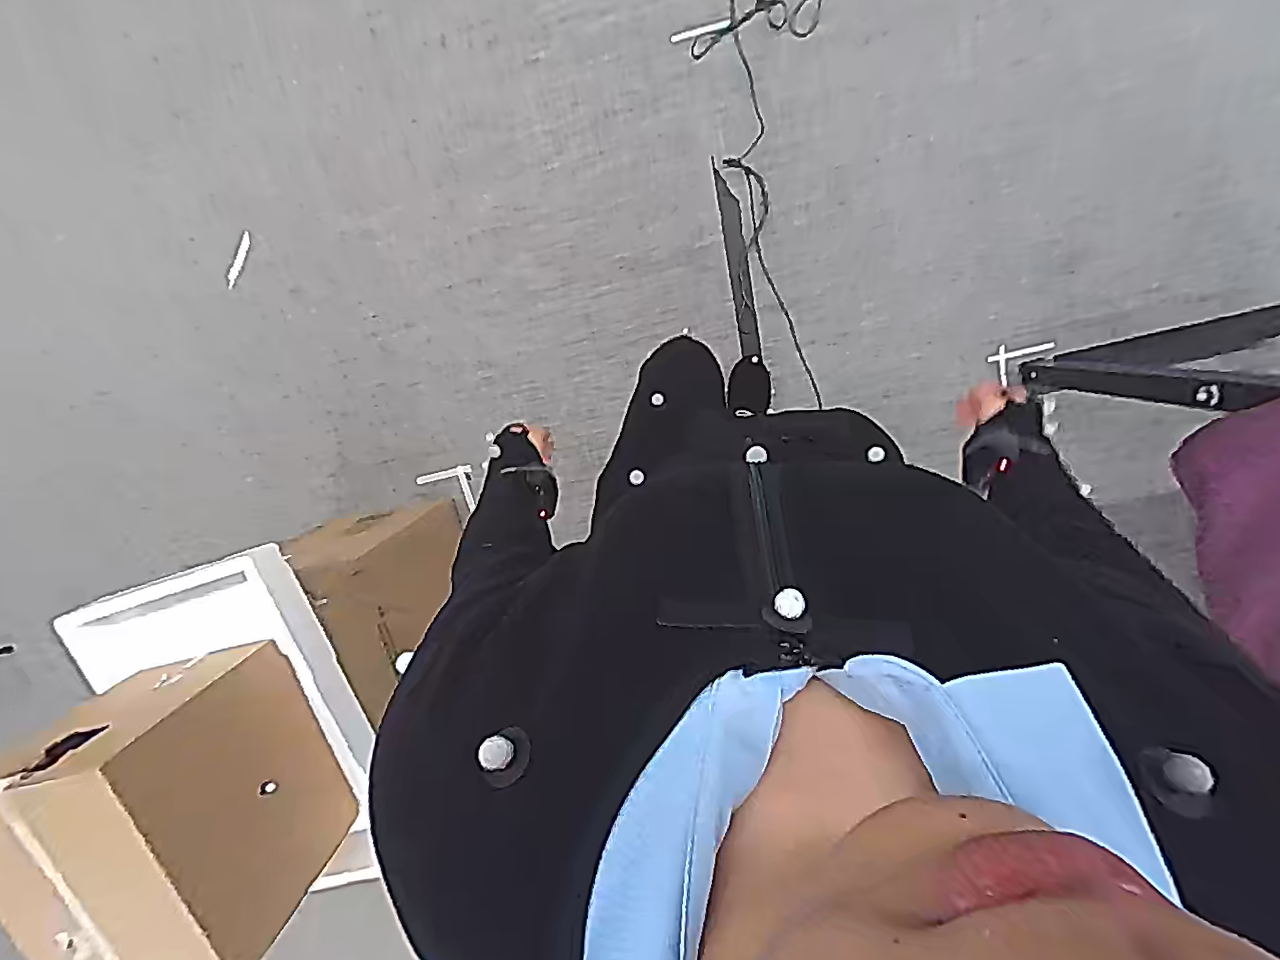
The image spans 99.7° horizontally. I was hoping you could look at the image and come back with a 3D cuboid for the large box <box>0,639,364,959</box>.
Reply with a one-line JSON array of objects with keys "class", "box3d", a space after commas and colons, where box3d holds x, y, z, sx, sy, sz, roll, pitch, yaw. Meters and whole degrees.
[{"class": "large box", "box3d": [-0.749, 0.541, 0.894, 0.320, 0.320, 0.408, -15, 104, 10]}]
